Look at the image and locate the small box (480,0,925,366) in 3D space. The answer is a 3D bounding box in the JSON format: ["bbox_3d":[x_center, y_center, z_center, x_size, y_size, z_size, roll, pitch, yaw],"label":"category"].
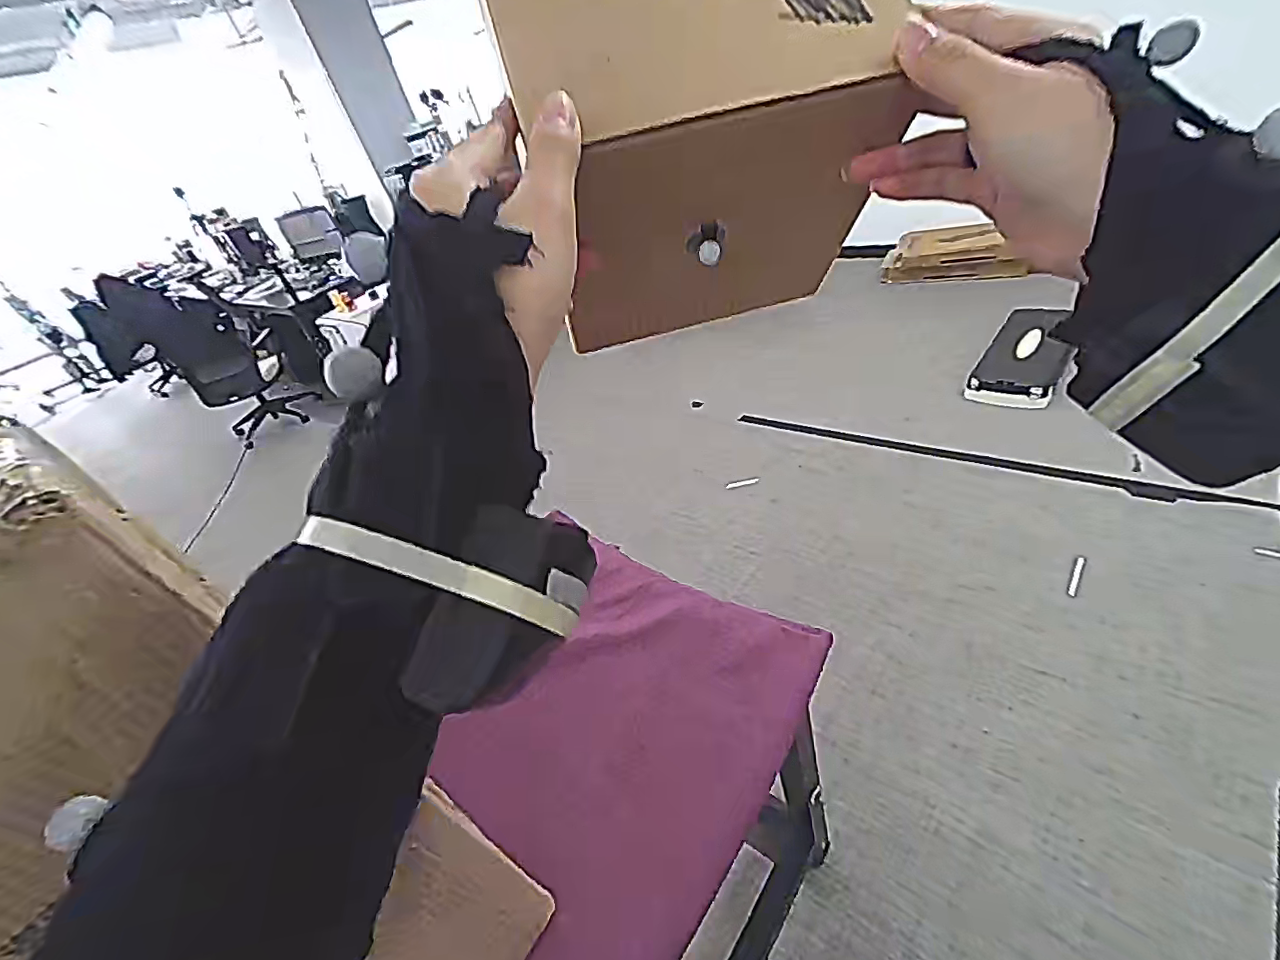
[{"bbox_3d":[0.019,-0.192,0.321,0.179,0.176,0.168,-16,76,-4],"label":"small box"}]
